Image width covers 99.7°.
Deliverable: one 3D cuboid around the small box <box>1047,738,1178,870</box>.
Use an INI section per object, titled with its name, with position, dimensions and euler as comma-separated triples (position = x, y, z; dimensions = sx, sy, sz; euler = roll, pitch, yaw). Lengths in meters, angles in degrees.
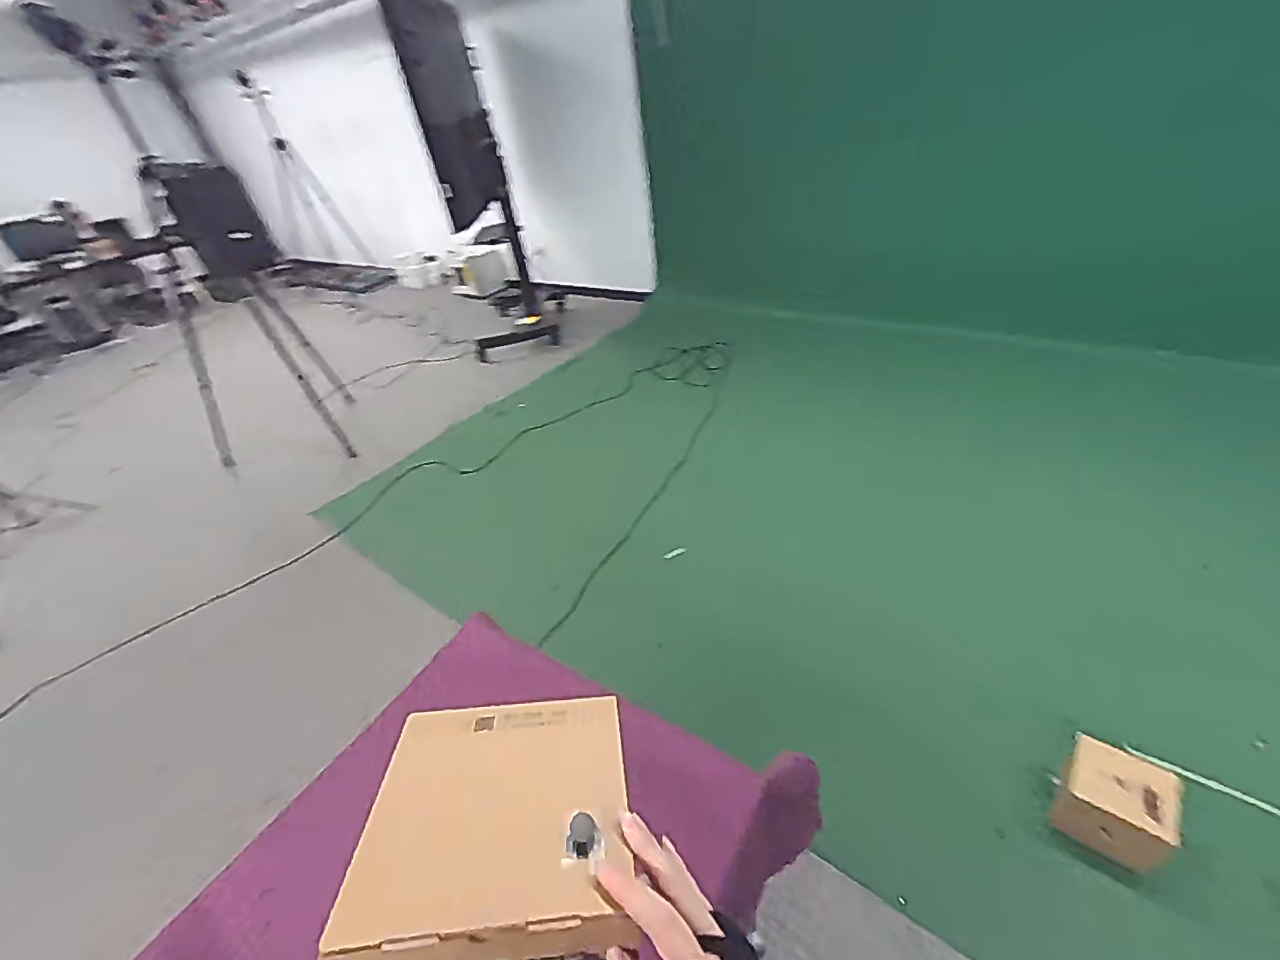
[small box]
position = 1.058, 0.734, 1.218
dimensions = 0.179, 0.176, 0.168
euler = 19, 44, 35
